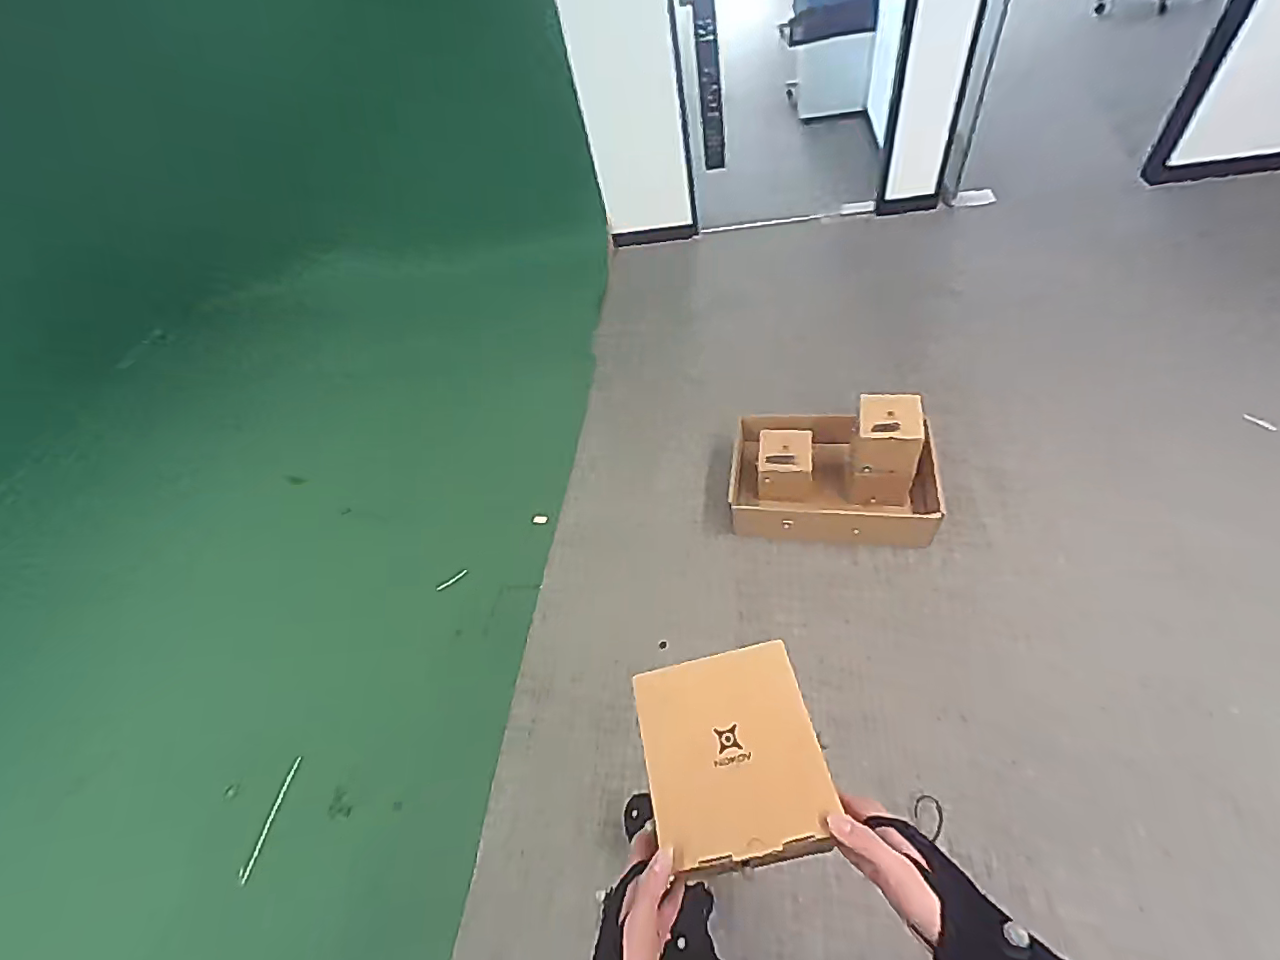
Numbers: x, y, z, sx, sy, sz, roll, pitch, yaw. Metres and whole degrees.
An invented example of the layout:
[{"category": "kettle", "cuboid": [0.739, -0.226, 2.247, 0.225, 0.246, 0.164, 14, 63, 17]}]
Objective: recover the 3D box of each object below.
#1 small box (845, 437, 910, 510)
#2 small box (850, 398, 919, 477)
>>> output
[{"category": "small box", "cuboid": [0.752, -0.025, 1.728, 0.168, 0.176, 0.179, 2, 54, 16]}, {"category": "small box", "cuboid": [0.720, -0.124, 1.602, 0.168, 0.176, 0.179, 3, 52, 17]}]
